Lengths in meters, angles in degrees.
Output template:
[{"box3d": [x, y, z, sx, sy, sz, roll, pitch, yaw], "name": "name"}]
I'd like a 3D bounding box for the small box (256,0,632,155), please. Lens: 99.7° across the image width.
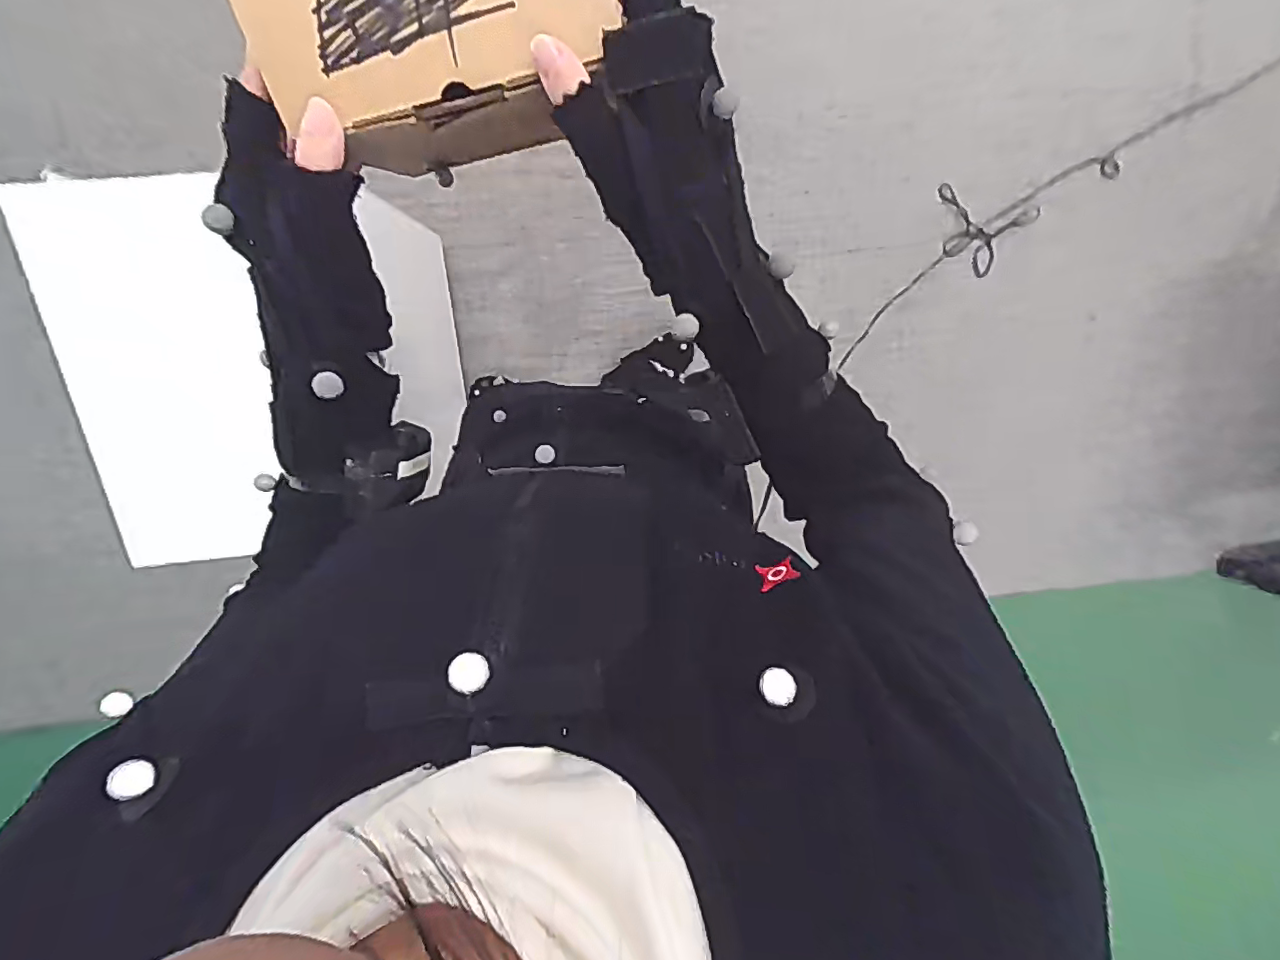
[{"box3d": [-0.098, -0.293, 0.292, 0.168, 0.176, 0.179, -11, 114, 3], "name": "small box"}]
